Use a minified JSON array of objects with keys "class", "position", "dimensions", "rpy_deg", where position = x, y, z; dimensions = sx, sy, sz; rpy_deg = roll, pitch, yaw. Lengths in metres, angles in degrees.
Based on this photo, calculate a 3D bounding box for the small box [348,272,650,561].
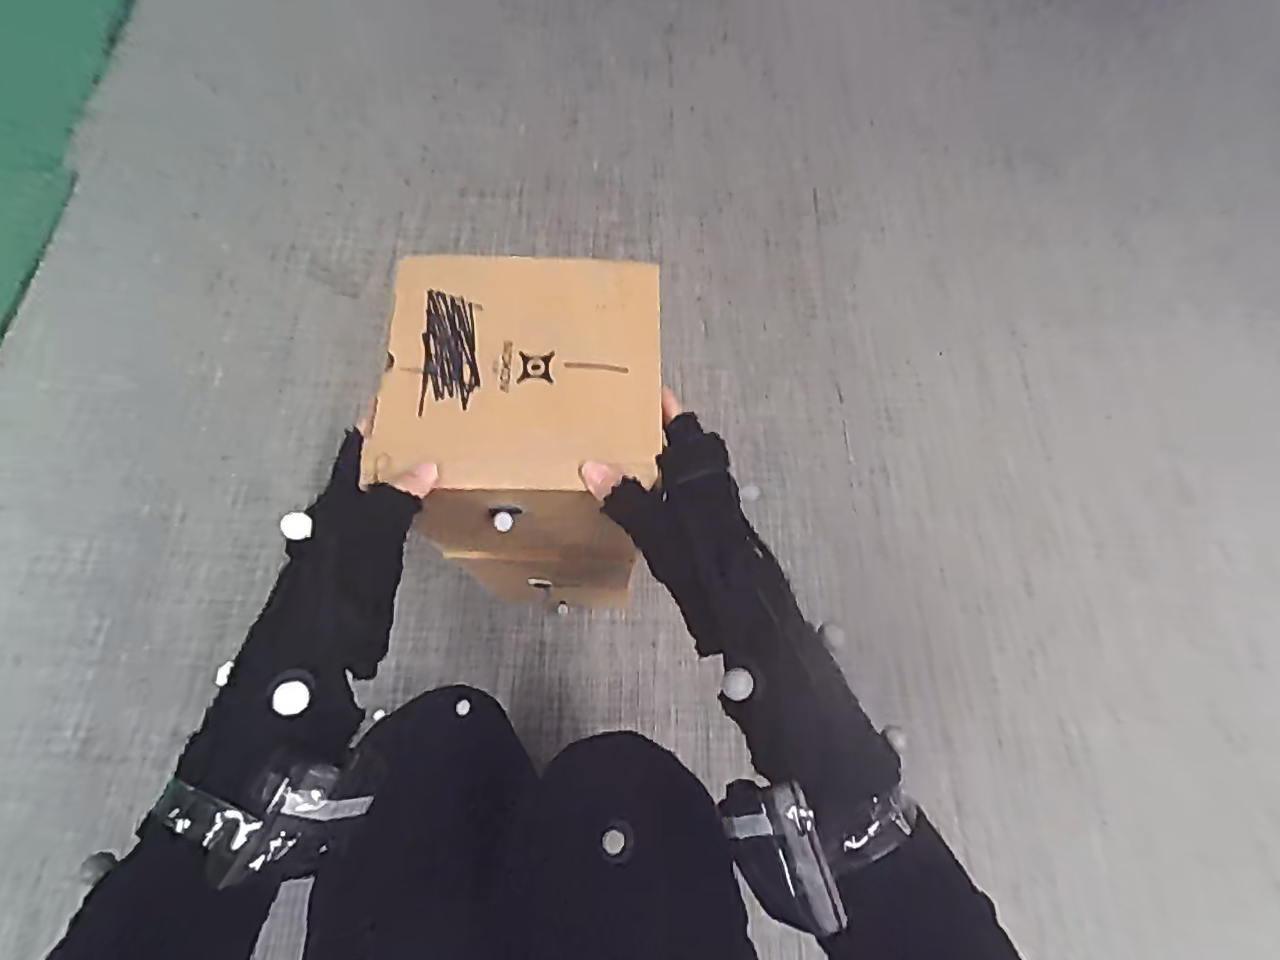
[{"class":"small box","position":[-0.083,-0.034,0.414],"dimensions":[0.179,0.176,0.168],"rpy_deg":[1,70,-2]}]

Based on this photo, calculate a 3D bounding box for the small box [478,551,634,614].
[{"class":"small box","position":[-0.097,0.083,0.718],"dimensions":[0.179,0.176,0.168],"rpy_deg":[4,69,-1]}]

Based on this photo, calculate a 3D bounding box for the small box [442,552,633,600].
[{"class":"small box","position":[-0.088,0.024,0.567],"dimensions":[0.168,0.176,0.179],"rpy_deg":[2,71,0]}]
